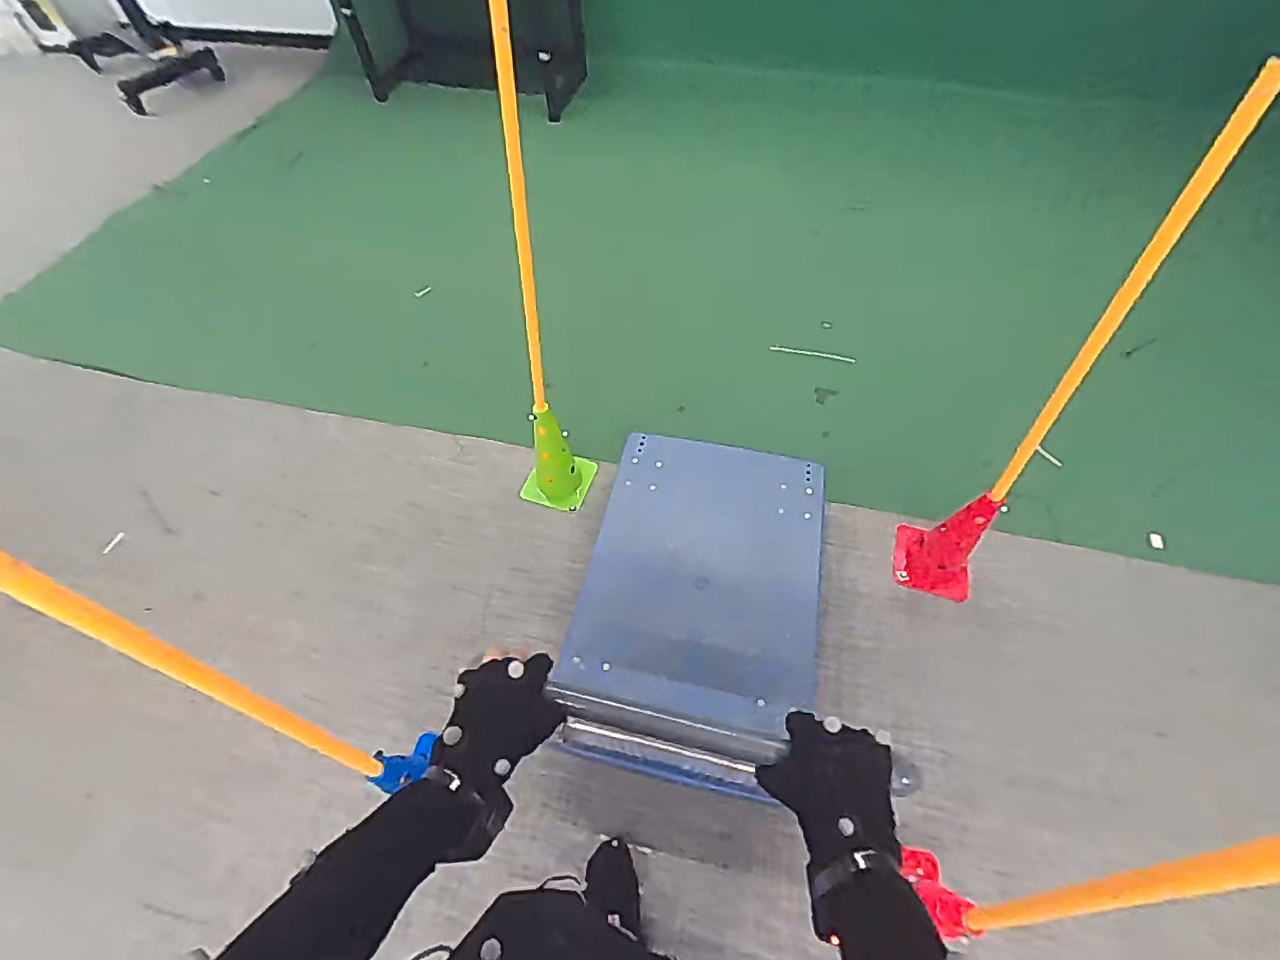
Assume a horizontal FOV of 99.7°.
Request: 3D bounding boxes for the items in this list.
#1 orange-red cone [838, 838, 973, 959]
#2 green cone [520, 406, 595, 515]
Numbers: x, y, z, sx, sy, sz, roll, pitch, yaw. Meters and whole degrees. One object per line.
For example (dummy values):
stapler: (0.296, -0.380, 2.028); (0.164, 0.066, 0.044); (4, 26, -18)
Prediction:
orange-red cone: (0.512, 0.787, 0.995); (0.199, 0.360, 0.198); (9, 56, 10)
green cone: (-0.269, -0.086, 1.603); (0.202, 0.368, 0.200); (14, 56, 12)
